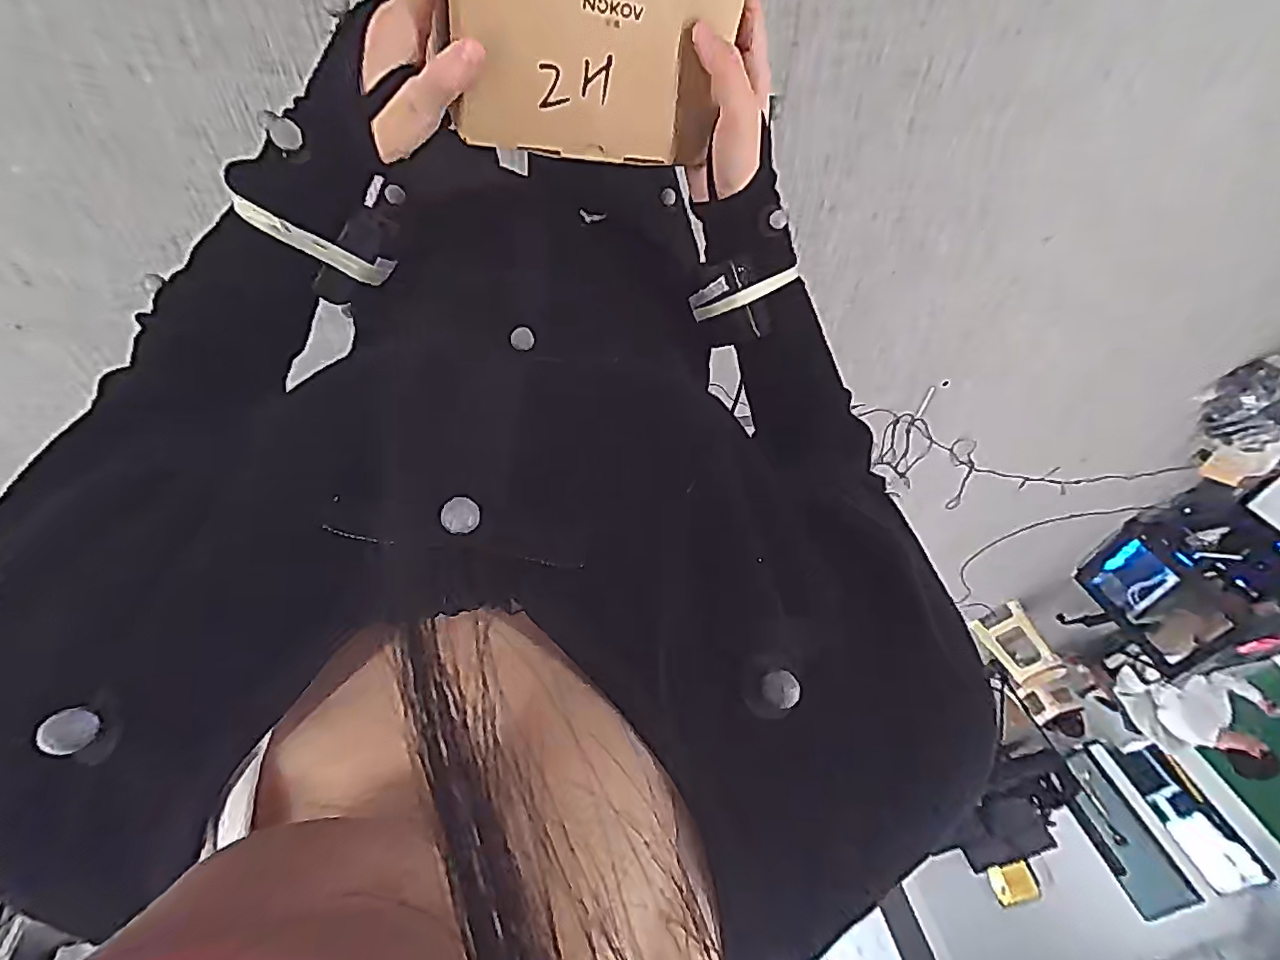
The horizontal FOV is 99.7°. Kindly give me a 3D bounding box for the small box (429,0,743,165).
[{"bbox_3d":[-0.043,-0.331,0.344,0.168,0.176,0.179,-7,137,-22],"label":"small box"}]

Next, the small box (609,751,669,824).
[{"bbox_3d":[-0.009,1.058,1.869,0.168,0.176,0.179,-7,136,-12],"label":"small box"}]

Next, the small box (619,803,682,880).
[{"bbox_3d":[0.028,1.176,1.762,0.168,0.176,0.179,-7,137,-12],"label":"small box"}]

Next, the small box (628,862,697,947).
[{"bbox_3d":[0.061,1.291,1.648,0.168,0.176,0.179,-6,136,-12],"label":"small box"}]
